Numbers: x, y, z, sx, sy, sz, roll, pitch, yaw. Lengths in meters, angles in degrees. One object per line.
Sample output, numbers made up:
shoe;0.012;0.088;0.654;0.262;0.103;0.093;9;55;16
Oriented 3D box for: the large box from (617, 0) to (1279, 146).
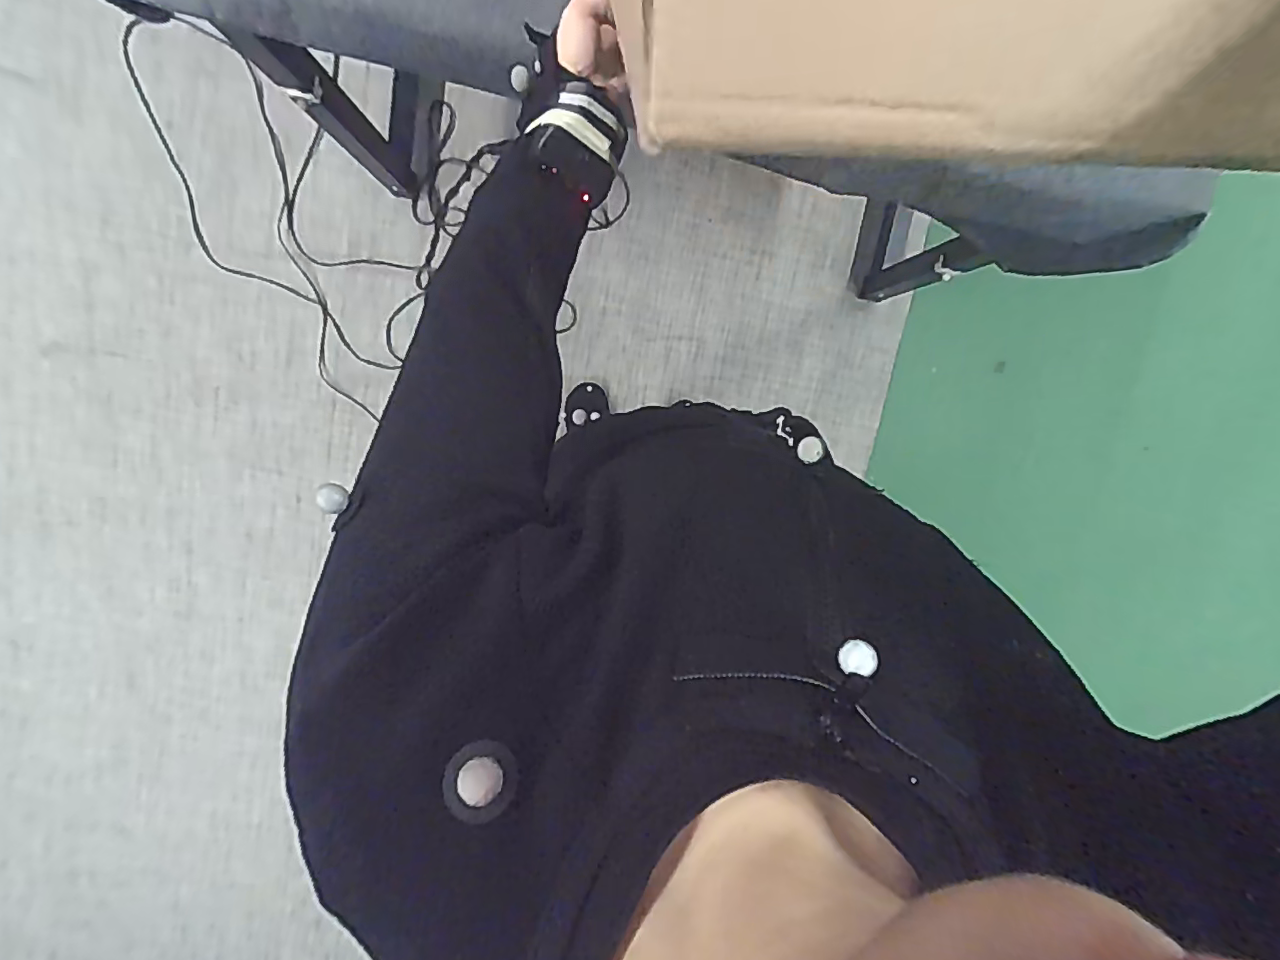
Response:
large box;0.138;-0.373;0.198;0.320;0.408;0.320;-4;143;-7
